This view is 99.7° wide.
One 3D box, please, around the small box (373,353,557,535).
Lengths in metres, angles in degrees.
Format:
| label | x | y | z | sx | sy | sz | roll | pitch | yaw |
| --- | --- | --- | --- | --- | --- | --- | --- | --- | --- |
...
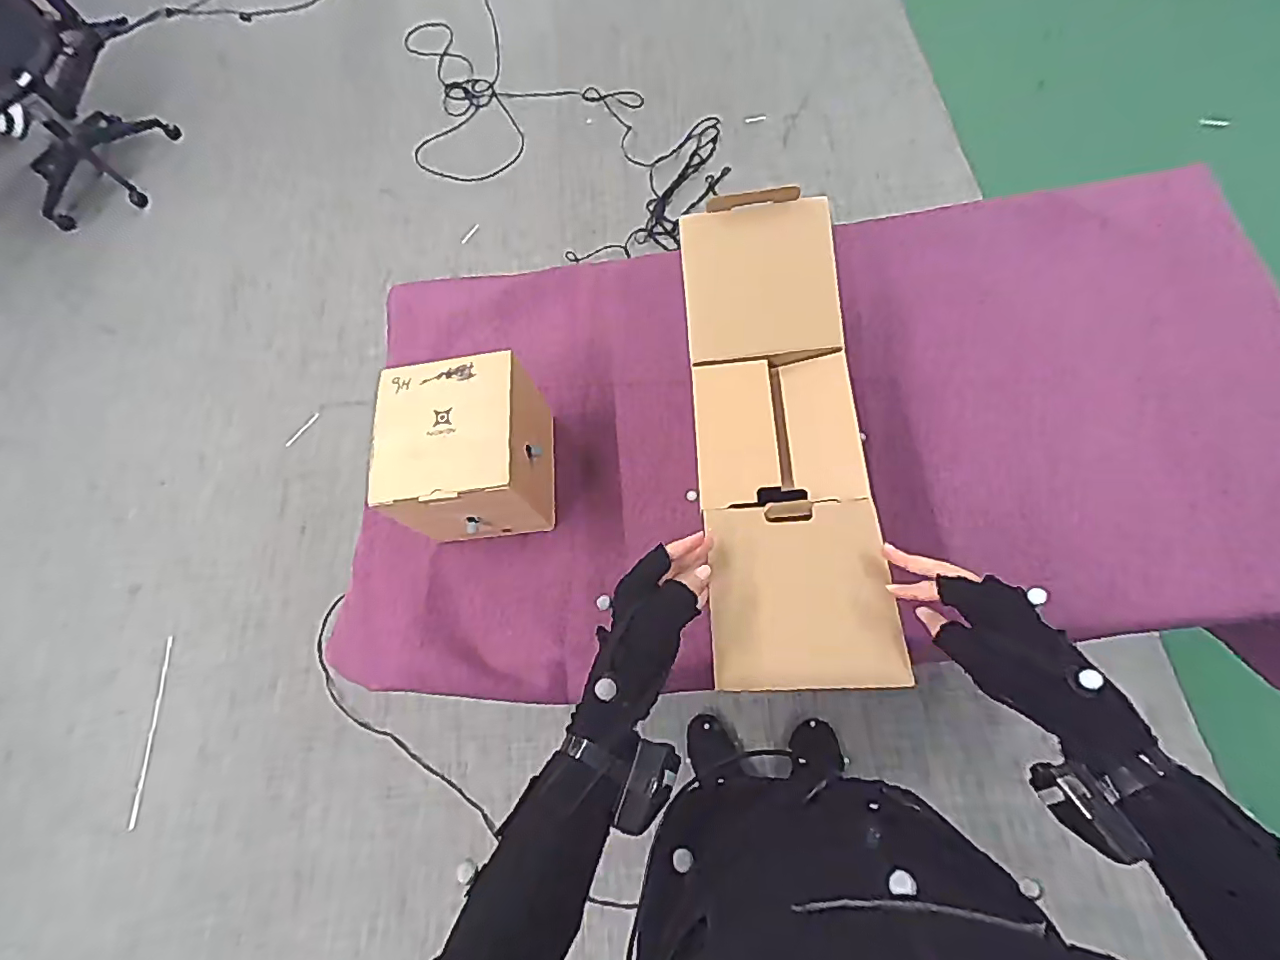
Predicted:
| label | x | y | z | sx | sy | sz | roll | pitch | yaw |
| --- | --- | --- | --- | --- | --- | --- | --- | --- | --- |
| small box | -0.208 | -0.033 | 0.687 | 0.168 | 0.176 | 0.179 | -7 | 69 | 6 |

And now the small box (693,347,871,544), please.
| label | x | y | z | sx | sy | sz | roll | pitch | yaw |
| --- | --- | --- | --- | --- | --- | --- | --- | --- | --- |
| small box | 0.152 | -0.027 | 0.626 | 0.168 | 0.176 | 0.179 | -4 | 68 | 7 |
